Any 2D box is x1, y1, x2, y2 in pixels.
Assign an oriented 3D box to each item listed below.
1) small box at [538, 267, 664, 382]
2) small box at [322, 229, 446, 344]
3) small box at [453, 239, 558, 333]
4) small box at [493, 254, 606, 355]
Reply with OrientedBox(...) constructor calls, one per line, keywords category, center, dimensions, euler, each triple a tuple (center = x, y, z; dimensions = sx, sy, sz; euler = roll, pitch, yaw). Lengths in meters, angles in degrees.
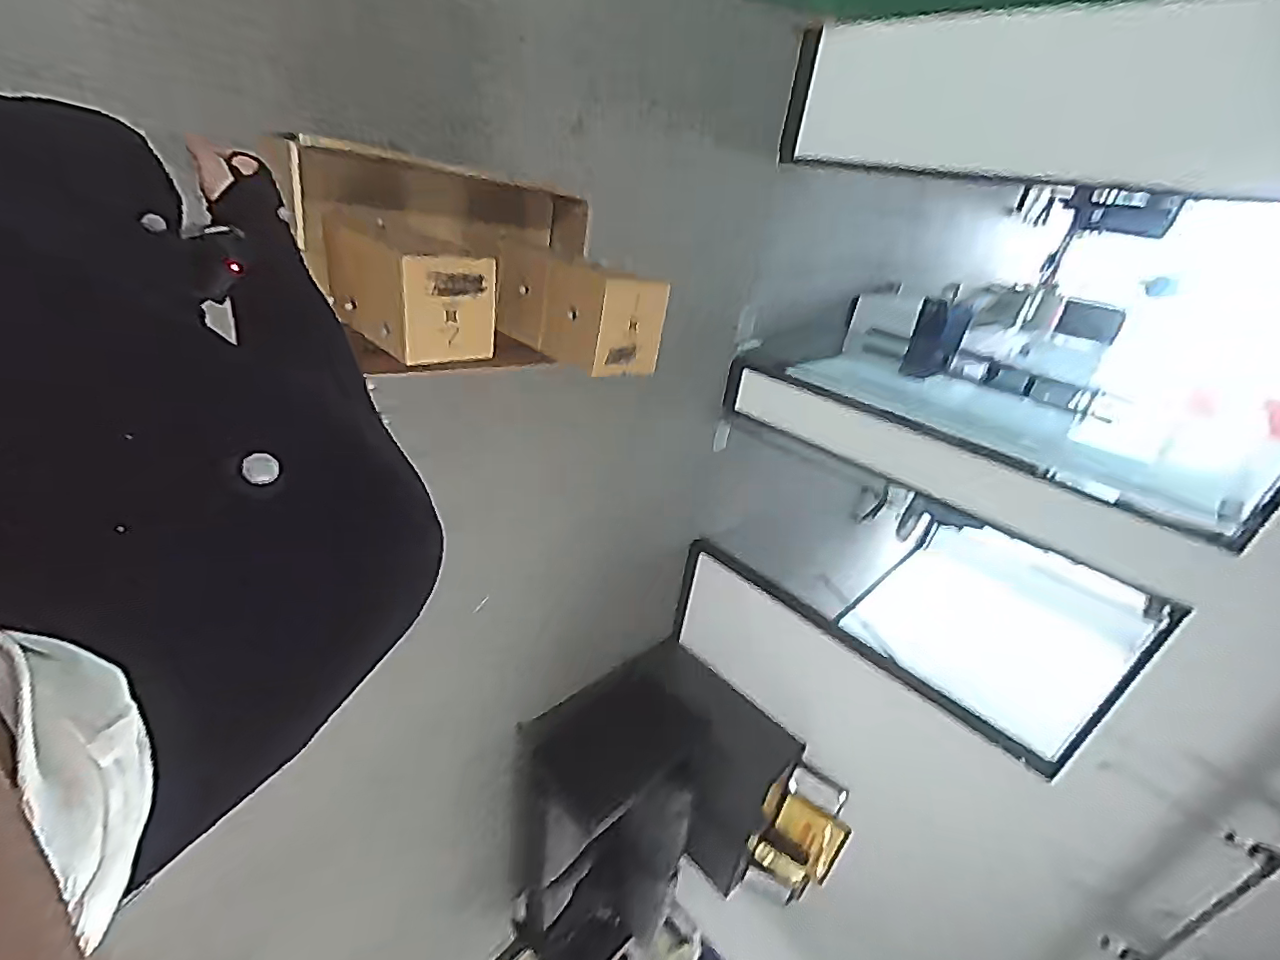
OrientedBox(category="small box", center=(-0.083, -0.305, 1.064), dimensions=(0.168, 0.176, 0.179), euler=(-14, 125, -44))
OrientedBox(category="small box", center=(-0.501, -0.379, 1.061), dimensions=(0.168, 0.176, 0.179), euler=(-19, 129, -45))
OrientedBox(category="small box", center=(-0.315, -0.445, 1.251), dimensions=(0.168, 0.176, 0.179), euler=(-13, 125, -45))
OrientedBox(category="small box", center=(-0.198, -0.375, 1.159), dimensions=(0.168, 0.176, 0.179), euler=(-13, 124, -44))
